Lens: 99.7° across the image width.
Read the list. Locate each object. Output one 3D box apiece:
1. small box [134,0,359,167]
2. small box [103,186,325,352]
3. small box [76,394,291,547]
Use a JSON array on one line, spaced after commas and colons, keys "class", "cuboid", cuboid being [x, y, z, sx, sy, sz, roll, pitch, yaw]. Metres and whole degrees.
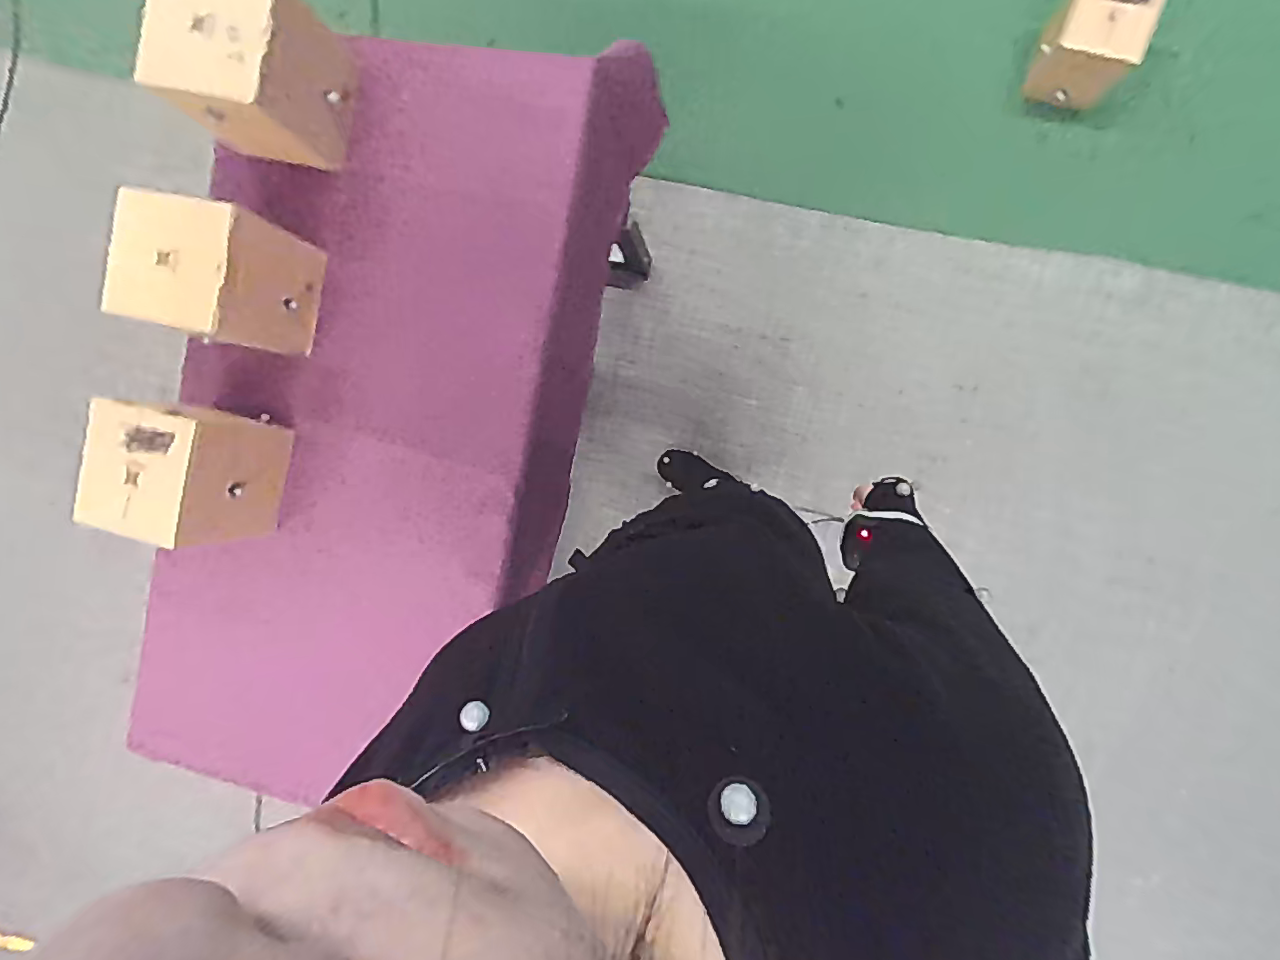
[{"class": "small box", "cuboid": [-0.537, -0.573, 0.759, 0.179, 0.176, 0.168, 14, 95, 5]}, {"class": "small box", "cuboid": [-0.604, -0.293, 0.783, 0.179, 0.176, 0.168, 12, 94, 7]}, {"class": "small box", "cuboid": [-0.658, -0.017, 0.798, 0.168, 0.176, 0.179, 14, 95, 8]}]
